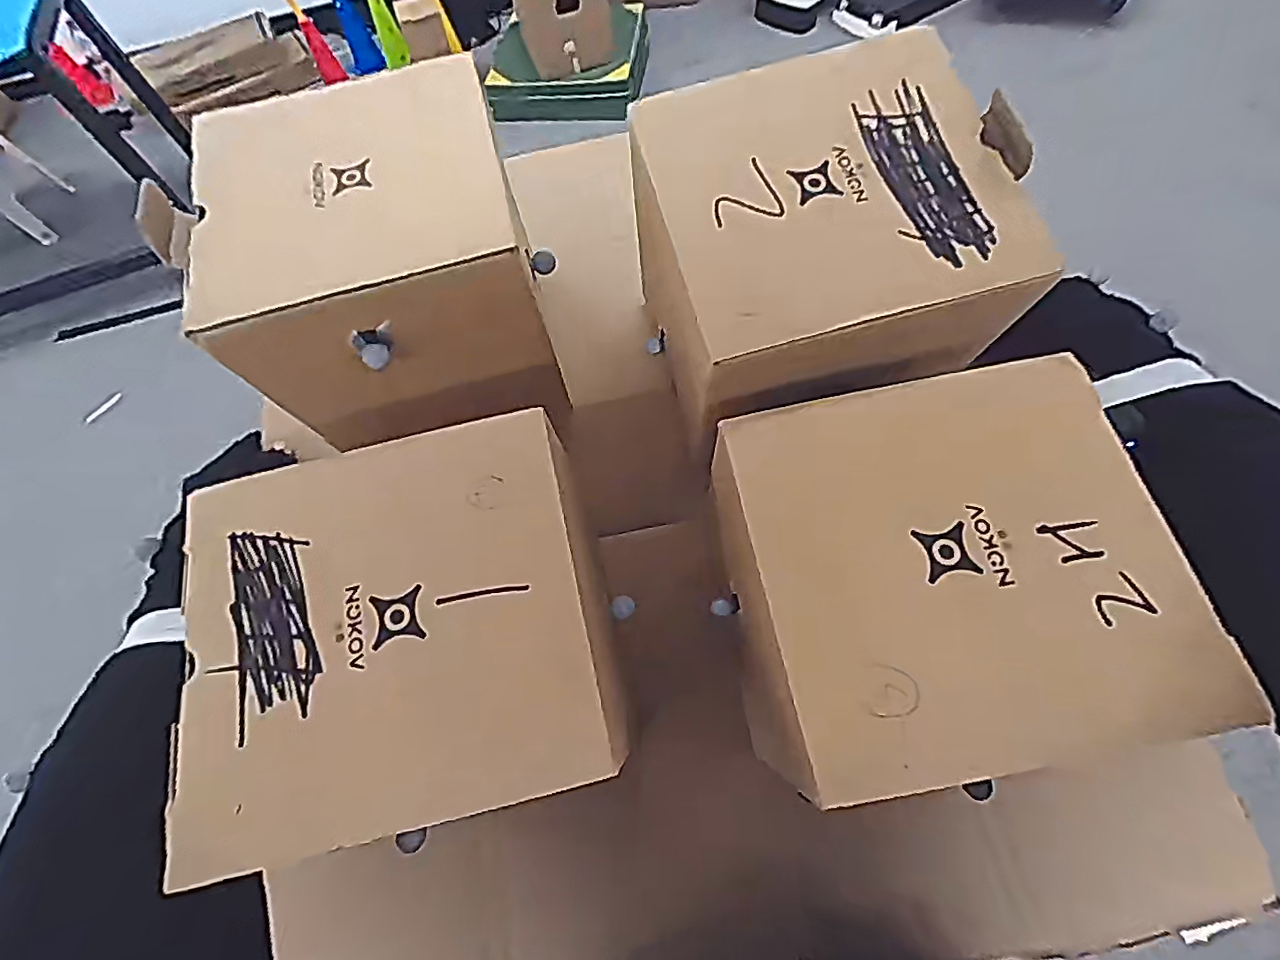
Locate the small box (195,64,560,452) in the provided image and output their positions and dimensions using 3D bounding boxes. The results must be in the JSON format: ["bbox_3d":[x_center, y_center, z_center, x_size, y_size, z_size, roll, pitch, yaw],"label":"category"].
[{"bbox_3d":[-0.163,-0.141,0.388,0.179,0.176,0.168,-16,68,-1],"label":"small box"}]
